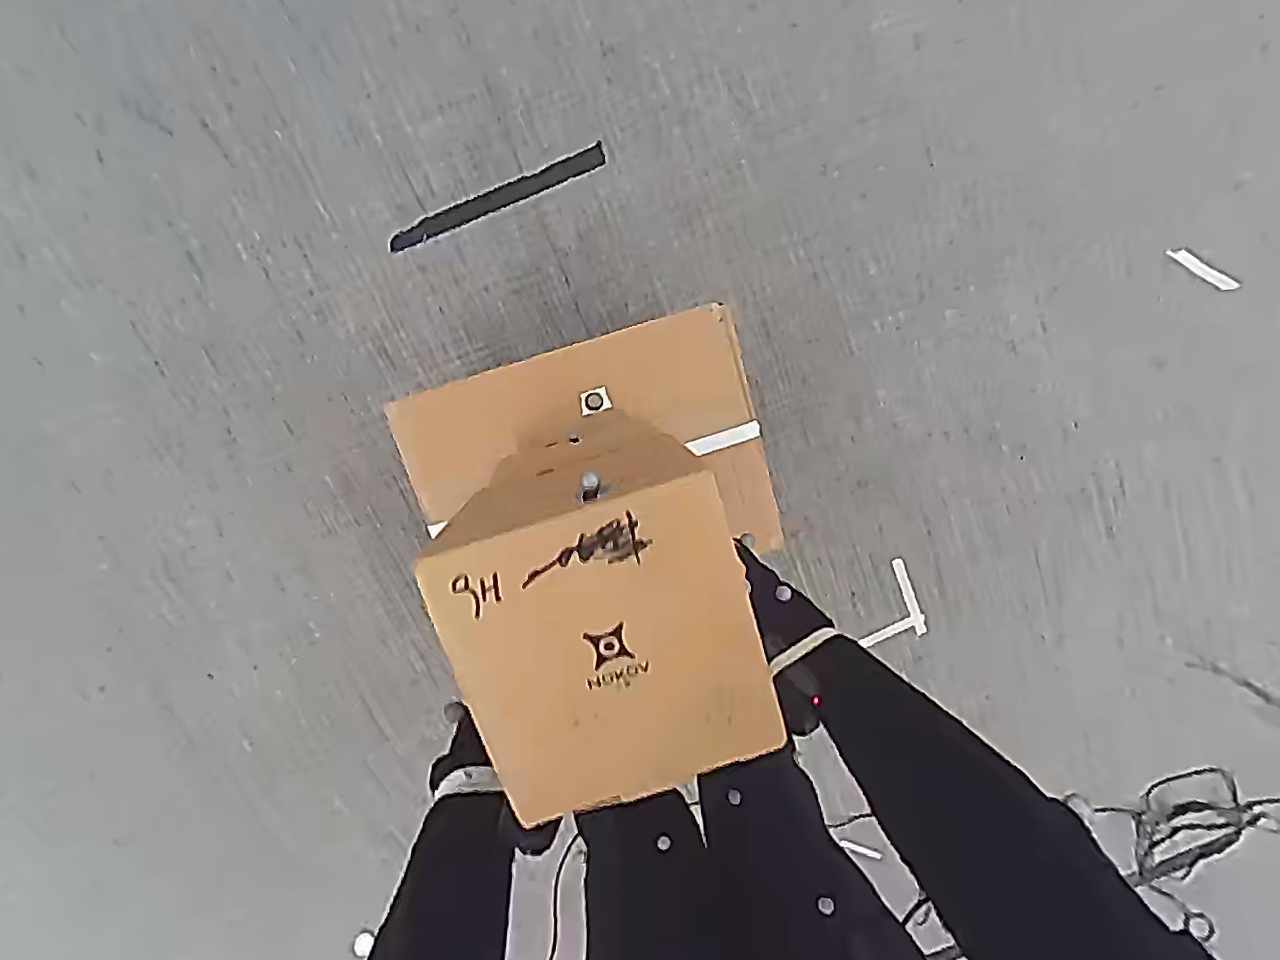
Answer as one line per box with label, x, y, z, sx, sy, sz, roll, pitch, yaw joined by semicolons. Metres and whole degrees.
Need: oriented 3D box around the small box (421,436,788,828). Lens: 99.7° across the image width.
small box;-0.019;0.083;0.373;0.168;0.176;0.179;-17;104;-2
